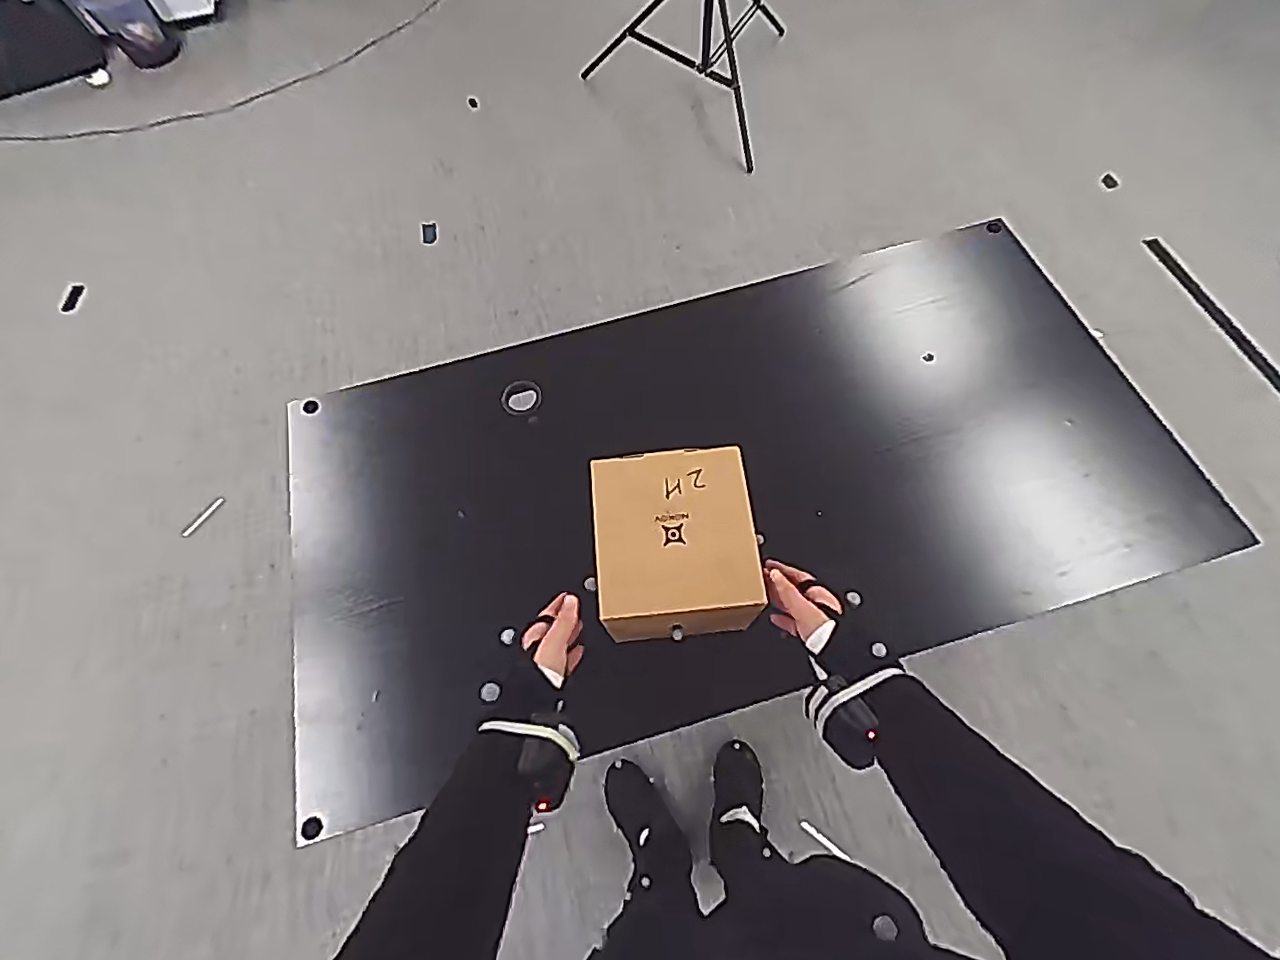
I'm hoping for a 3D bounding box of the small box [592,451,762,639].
[{"bbox_3d":[0.039,0.086,0.636,0.168,0.176,0.179,-6,65,0],"label":"small box"}]
